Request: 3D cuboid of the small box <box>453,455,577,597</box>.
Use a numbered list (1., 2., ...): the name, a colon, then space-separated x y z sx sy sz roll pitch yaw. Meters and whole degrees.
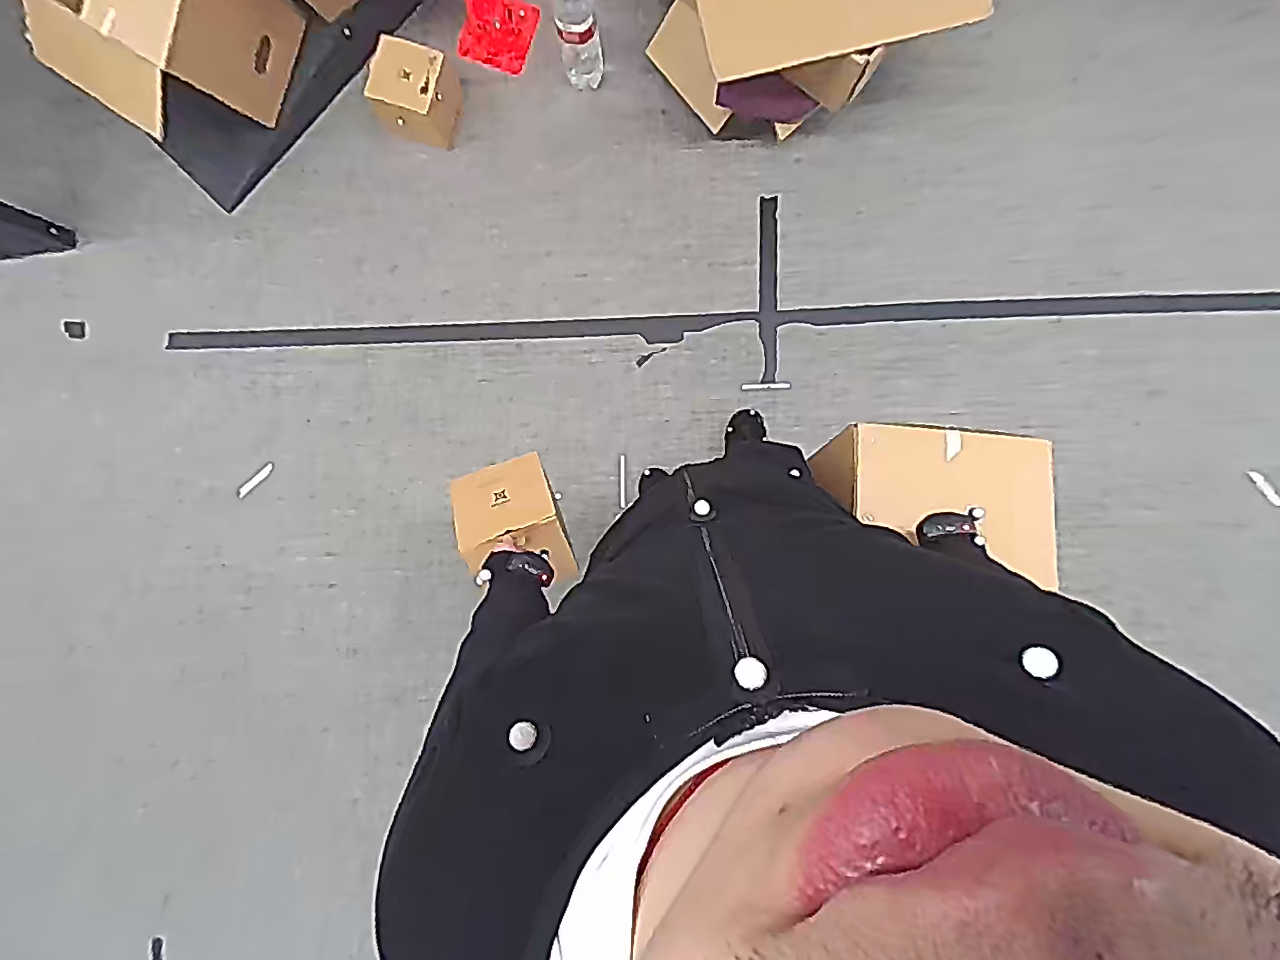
1. small box: -0.224 0.091 0.985 0.168 0.179 0.176 -19 135 -7
